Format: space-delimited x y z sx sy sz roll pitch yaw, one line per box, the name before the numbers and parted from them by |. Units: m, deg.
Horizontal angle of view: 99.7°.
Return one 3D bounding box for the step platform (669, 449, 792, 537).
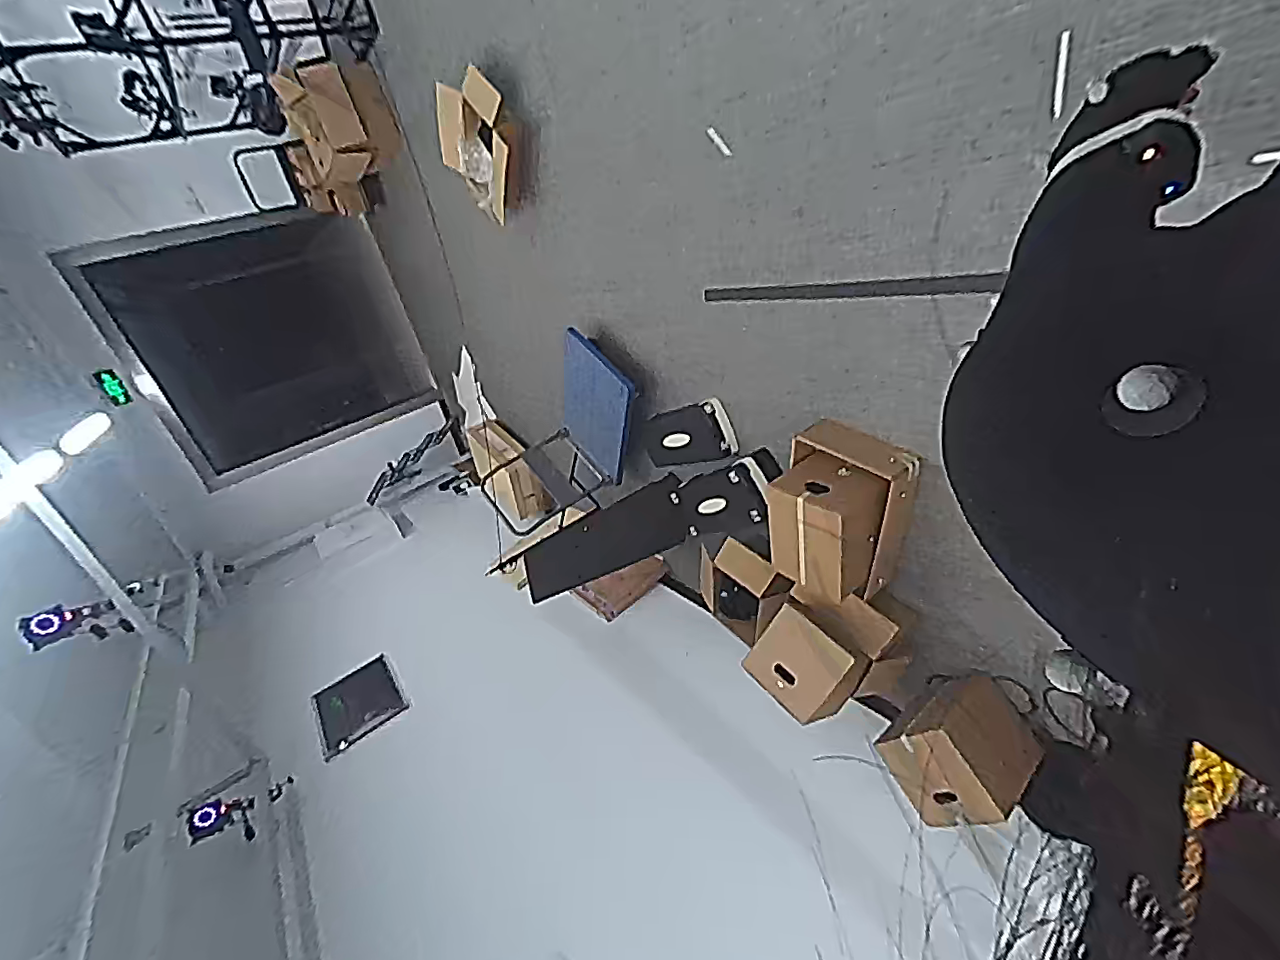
step platform | 0.409 0.083 2.626 0.286 0.204 0.684 61 152 -1
